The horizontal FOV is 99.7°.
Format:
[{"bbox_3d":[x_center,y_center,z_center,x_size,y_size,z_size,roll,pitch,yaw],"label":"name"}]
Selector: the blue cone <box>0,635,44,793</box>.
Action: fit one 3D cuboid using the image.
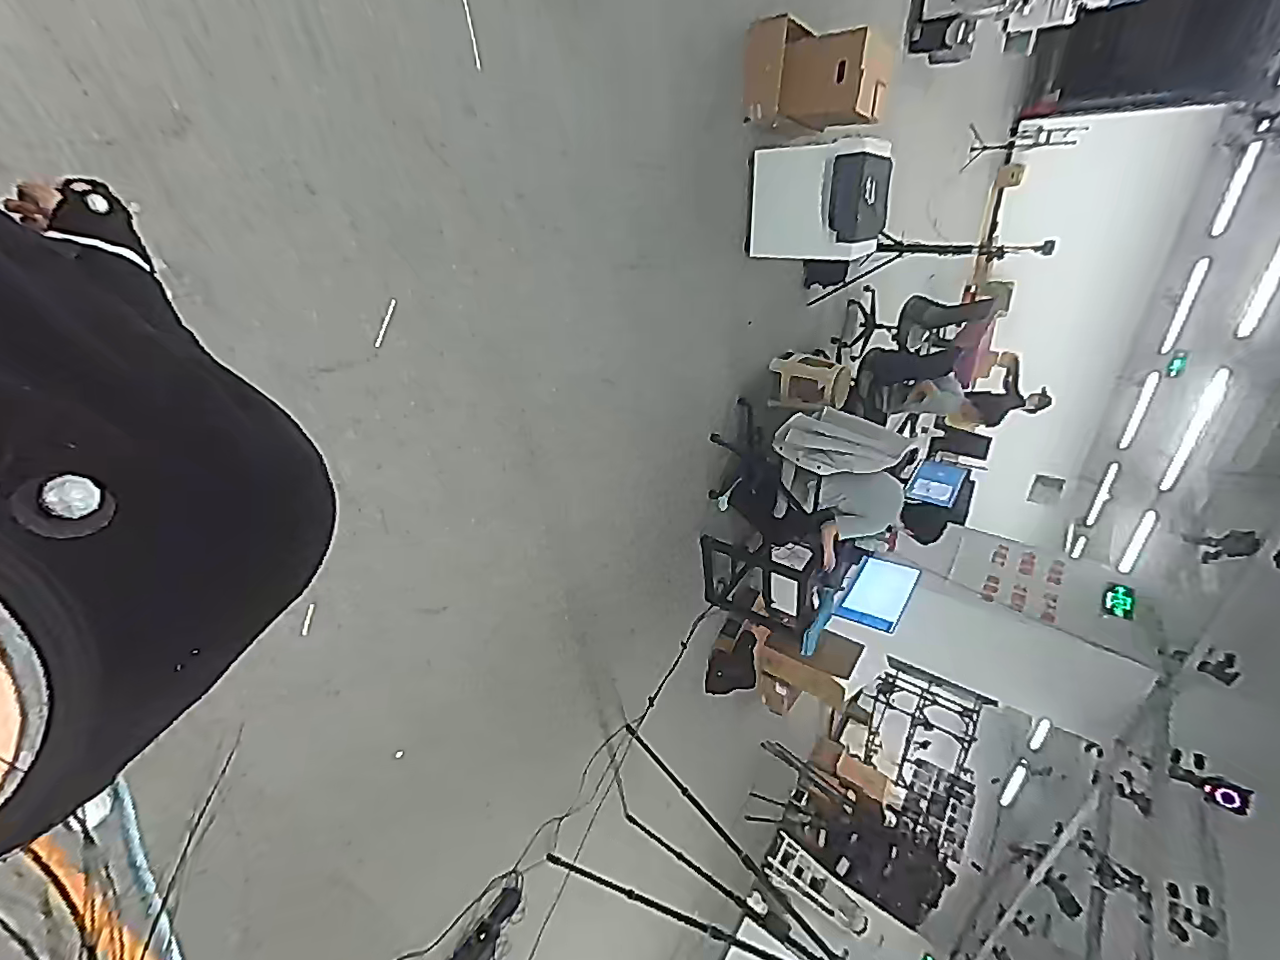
[{"bbox_3d":[-1.178,0.433,0.961,0.193,0.380,0.192,25,84,-58],"label":"blue cone"}]
